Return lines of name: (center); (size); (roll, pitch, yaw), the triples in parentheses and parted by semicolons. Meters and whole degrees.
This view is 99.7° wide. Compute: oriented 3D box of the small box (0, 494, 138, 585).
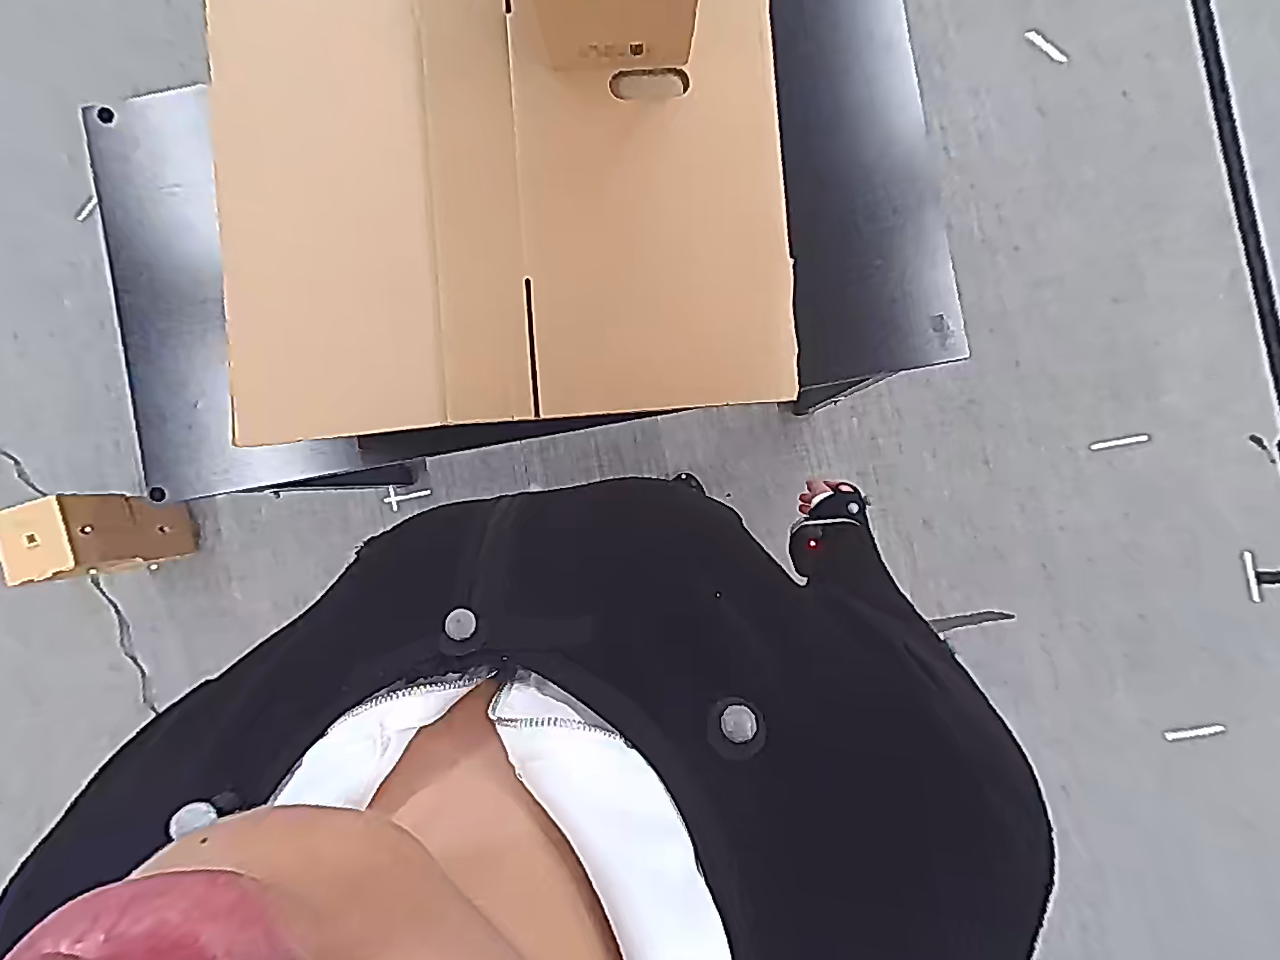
small box: (-1.373, 0.136, 1.303); (0.168, 0.176, 0.179); (-17, 88, 1)

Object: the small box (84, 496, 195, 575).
small box: (-1.365, 0.144, 1.466); (0.168, 0.176, 0.179); (-14, 89, 2)

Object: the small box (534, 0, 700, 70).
small box: (-0.026, -0.550, 0.528); (0.168, 0.176, 0.179); (-3, 87, -1)
